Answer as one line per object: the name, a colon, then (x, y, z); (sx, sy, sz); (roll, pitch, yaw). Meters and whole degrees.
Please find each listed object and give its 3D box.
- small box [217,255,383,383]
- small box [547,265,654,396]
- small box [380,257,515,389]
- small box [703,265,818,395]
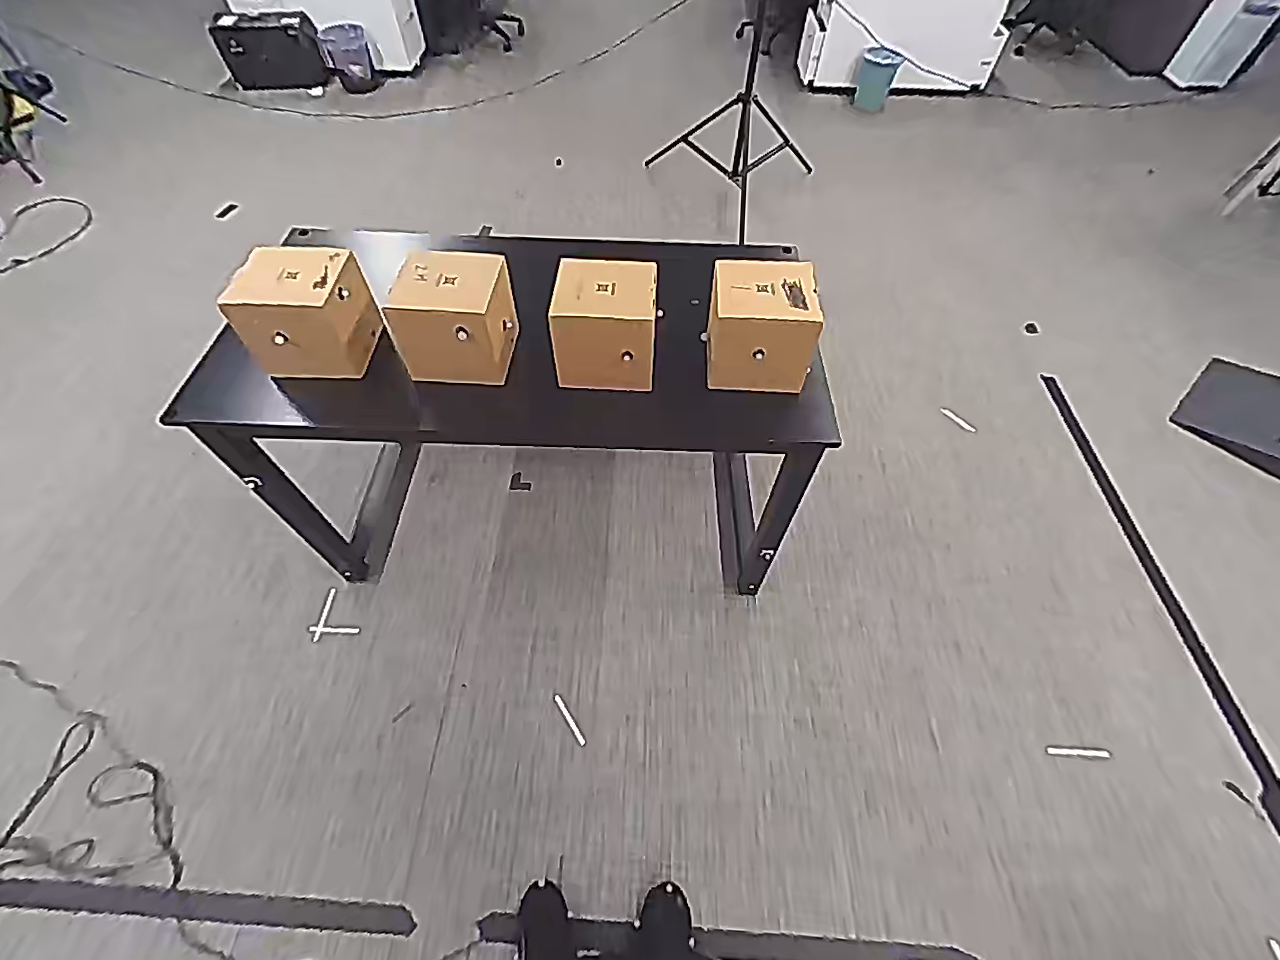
small box: (-0.613, -0.294, 1.002); (0.179, 0.176, 0.168); (0, 55, -1)
small box: (-0.067, -0.271, 0.997); (0.179, 0.176, 0.168); (2, 53, 0)
small box: (-0.340, -0.286, 1.000); (0.179, 0.176, 0.168); (3, 54, 1)
small box: (0.212, -0.272, 1.000); (0.179, 0.176, 0.168); (2, 54, 3)
